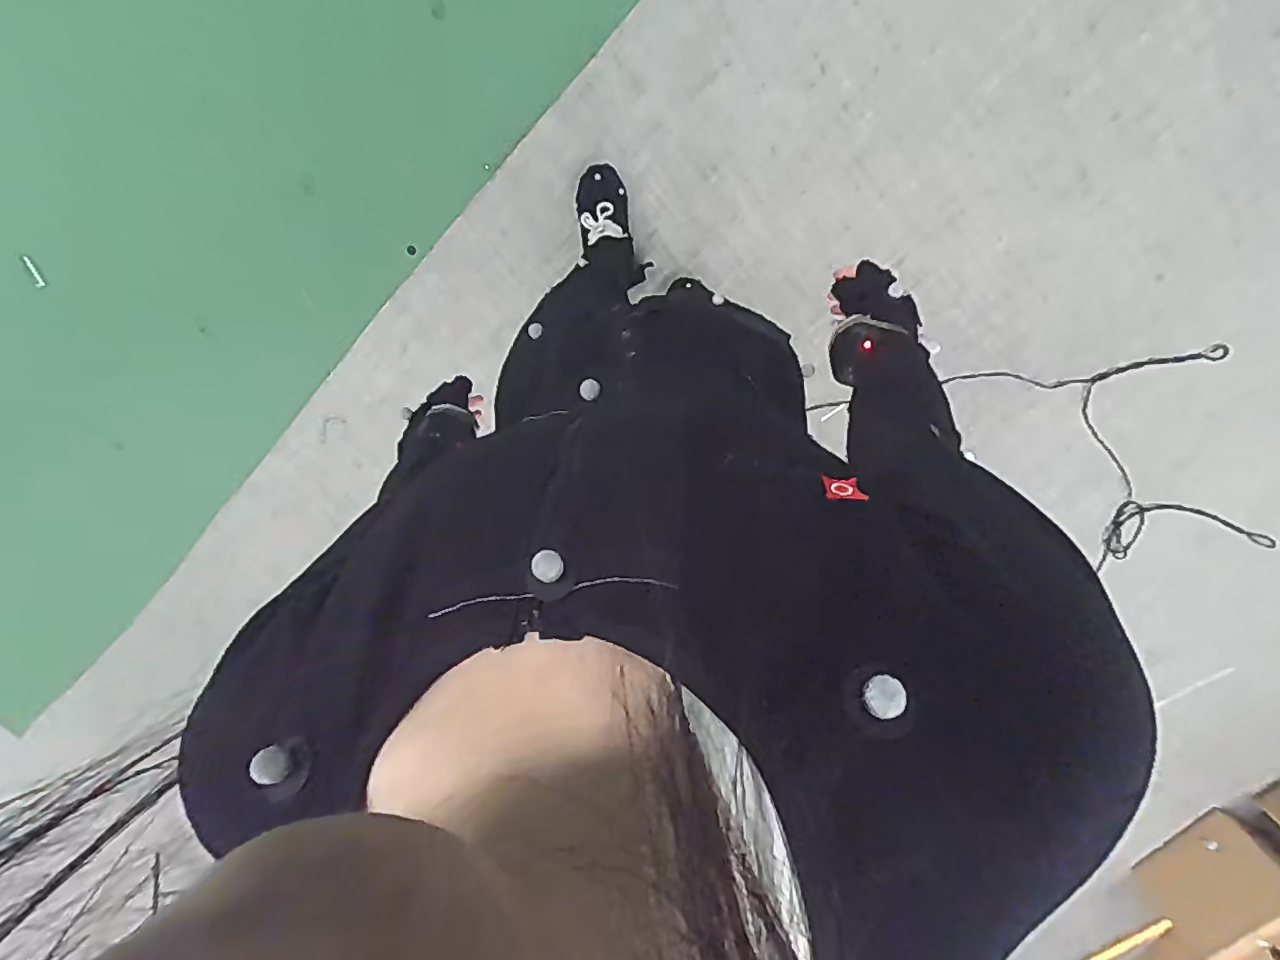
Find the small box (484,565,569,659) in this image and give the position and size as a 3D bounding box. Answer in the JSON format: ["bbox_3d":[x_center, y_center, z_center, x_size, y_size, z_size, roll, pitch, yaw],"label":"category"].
[{"bbox_3d":[-0.333,0.395,1.632,0.168,0.176,0.179,40,108,-13],"label":"small box"}]

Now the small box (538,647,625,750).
[{"bbox_3d":[-0.157,0.615,1.534,0.179,0.176,0.168,-41,107,17],"label":"small box"}]
